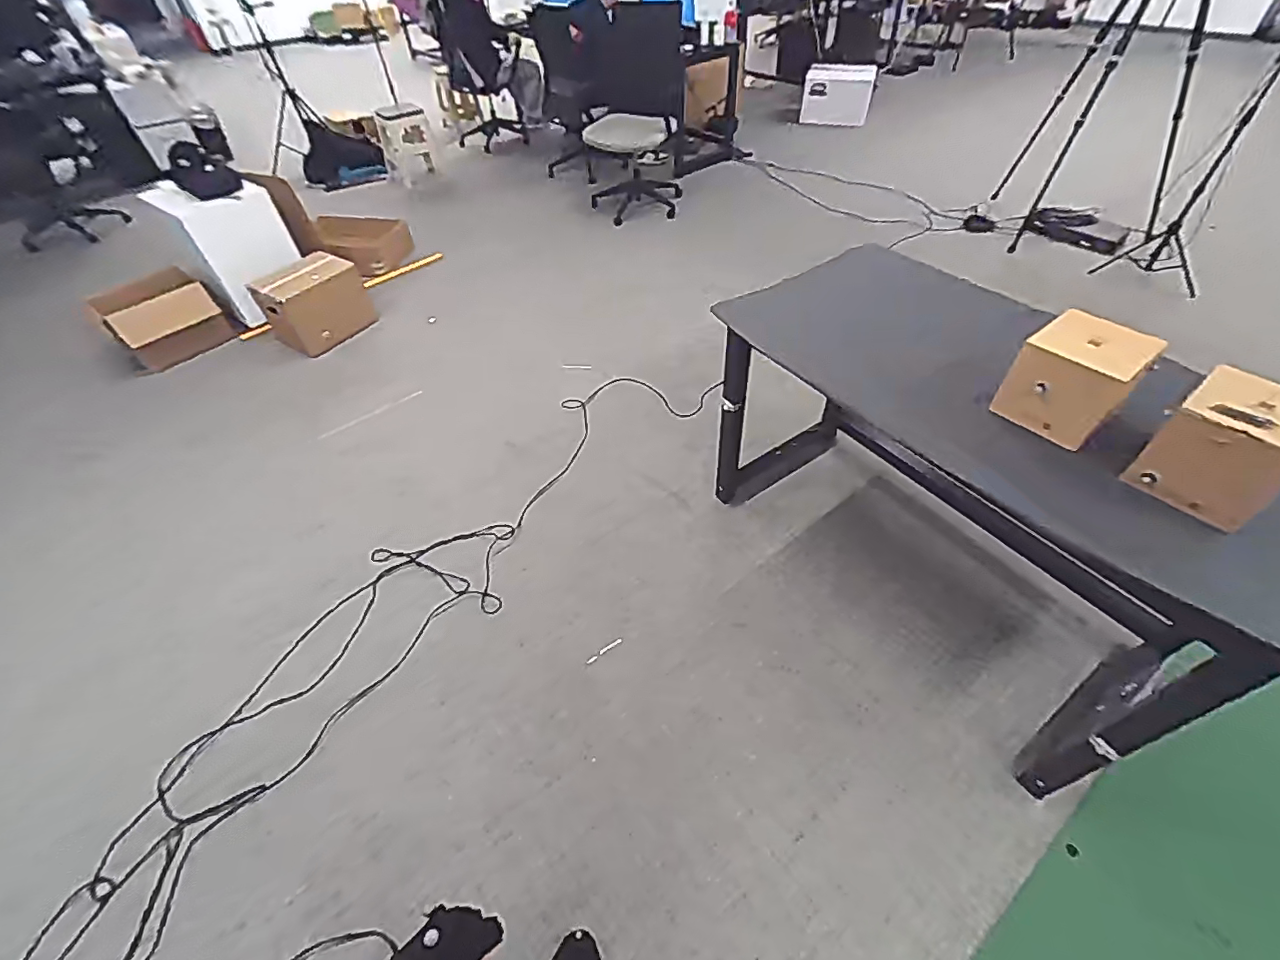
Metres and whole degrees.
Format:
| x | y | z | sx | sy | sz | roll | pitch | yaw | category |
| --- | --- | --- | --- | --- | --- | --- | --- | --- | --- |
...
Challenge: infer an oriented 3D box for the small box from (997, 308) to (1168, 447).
| x | y | z | sx | sy | sz | roll | pitch | yaw | category |
| --- | --- | --- | --- | --- | --- | --- | --- | --- | --- |
| 0.816 | -0.191 | 1.018 | 0.179 | 0.176 | 0.168 | -31 | 52 | -24 | small box |

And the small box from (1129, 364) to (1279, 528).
| x | y | z | sx | sy | sz | roll | pitch | yaw | category |
| --- | --- | --- | --- | --- | --- | --- | --- | --- | --- |
| 0.956 | -0.054 | 0.879 | 0.179 | 0.176 | 0.168 | -31 | 53 | -24 | small box |
